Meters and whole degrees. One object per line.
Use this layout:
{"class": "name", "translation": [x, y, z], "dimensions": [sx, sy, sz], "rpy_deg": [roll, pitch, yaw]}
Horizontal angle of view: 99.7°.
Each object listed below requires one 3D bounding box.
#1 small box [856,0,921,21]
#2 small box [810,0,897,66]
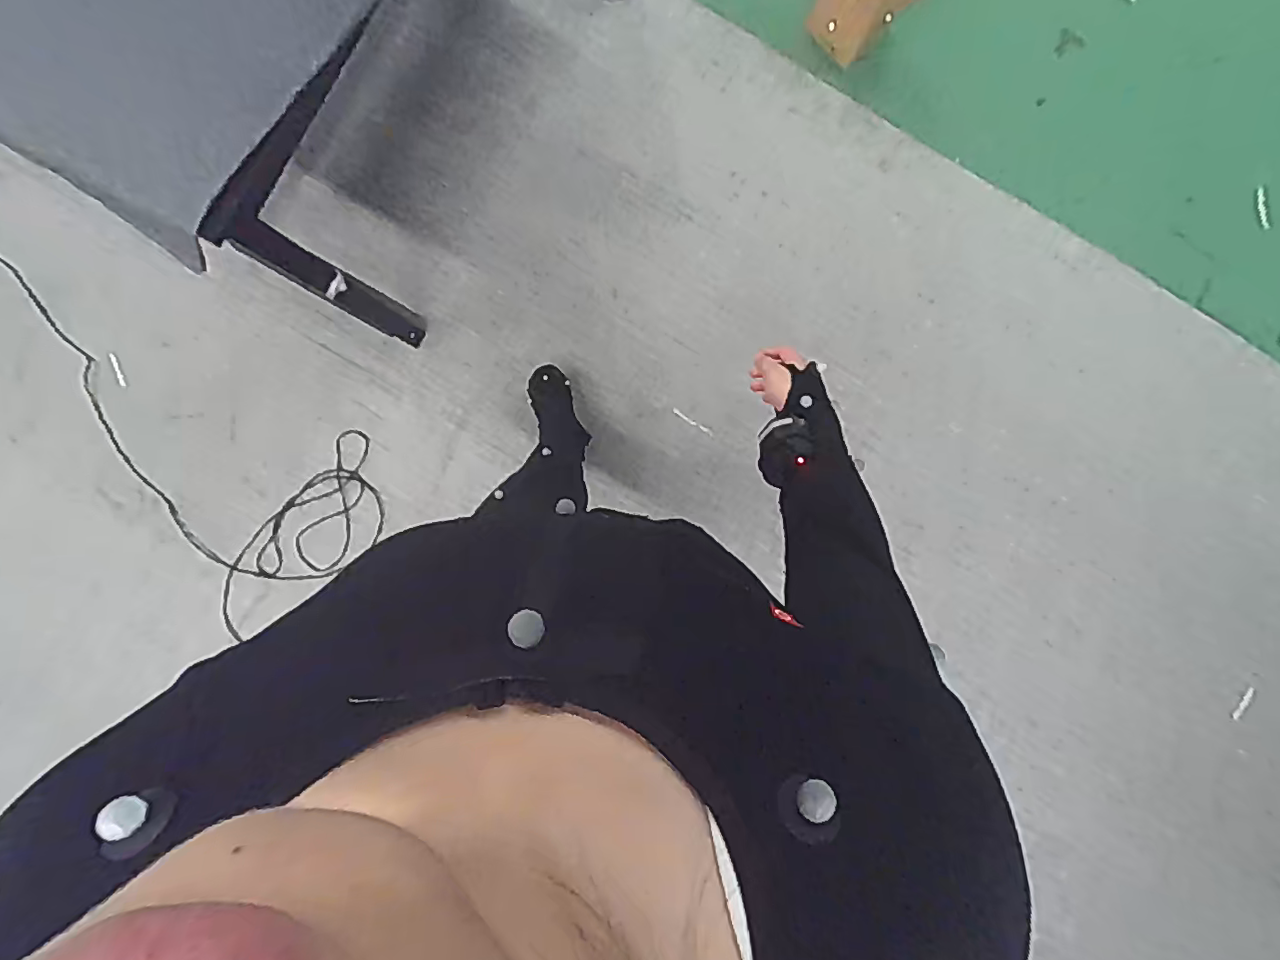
{"class": "small box", "translation": [0.595, -1.216, 1.239], "dimensions": [0.179, 0.176, 0.168], "rpy_deg": [-23, 93, -2]}
{"class": "small box", "translation": [0.567, -1.239, 1.400], "dimensions": [0.179, 0.176, 0.168], "rpy_deg": [-43, 92, -1]}
